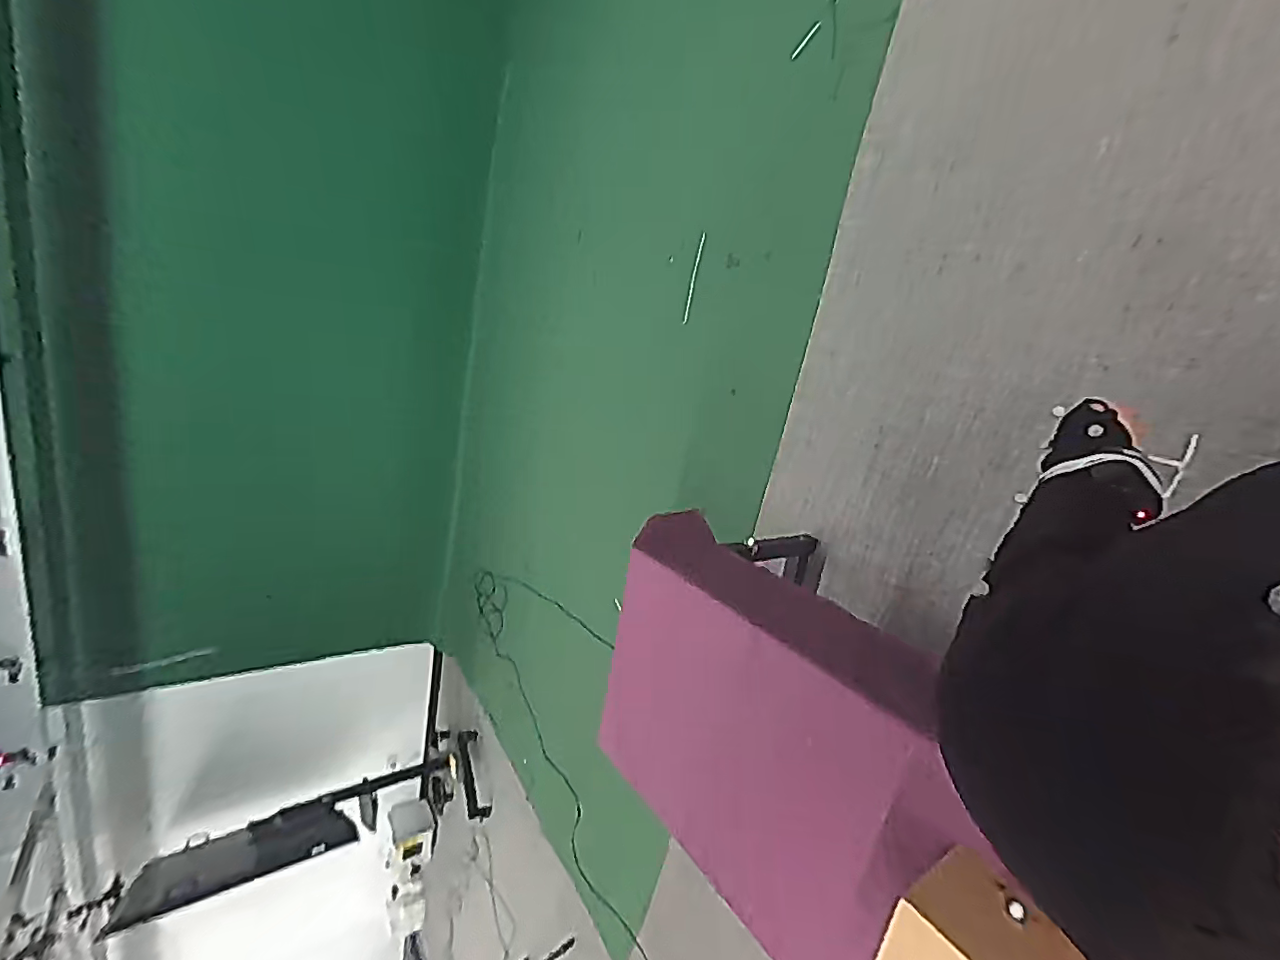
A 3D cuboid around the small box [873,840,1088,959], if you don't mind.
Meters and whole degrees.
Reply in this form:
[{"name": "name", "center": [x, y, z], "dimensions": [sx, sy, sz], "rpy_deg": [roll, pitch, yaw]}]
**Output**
[{"name": "small box", "center": [0.429, 0.618, 0.691], "dimensions": [0.168, 0.176, 0.179], "rpy_deg": [28, 112, 49]}]
